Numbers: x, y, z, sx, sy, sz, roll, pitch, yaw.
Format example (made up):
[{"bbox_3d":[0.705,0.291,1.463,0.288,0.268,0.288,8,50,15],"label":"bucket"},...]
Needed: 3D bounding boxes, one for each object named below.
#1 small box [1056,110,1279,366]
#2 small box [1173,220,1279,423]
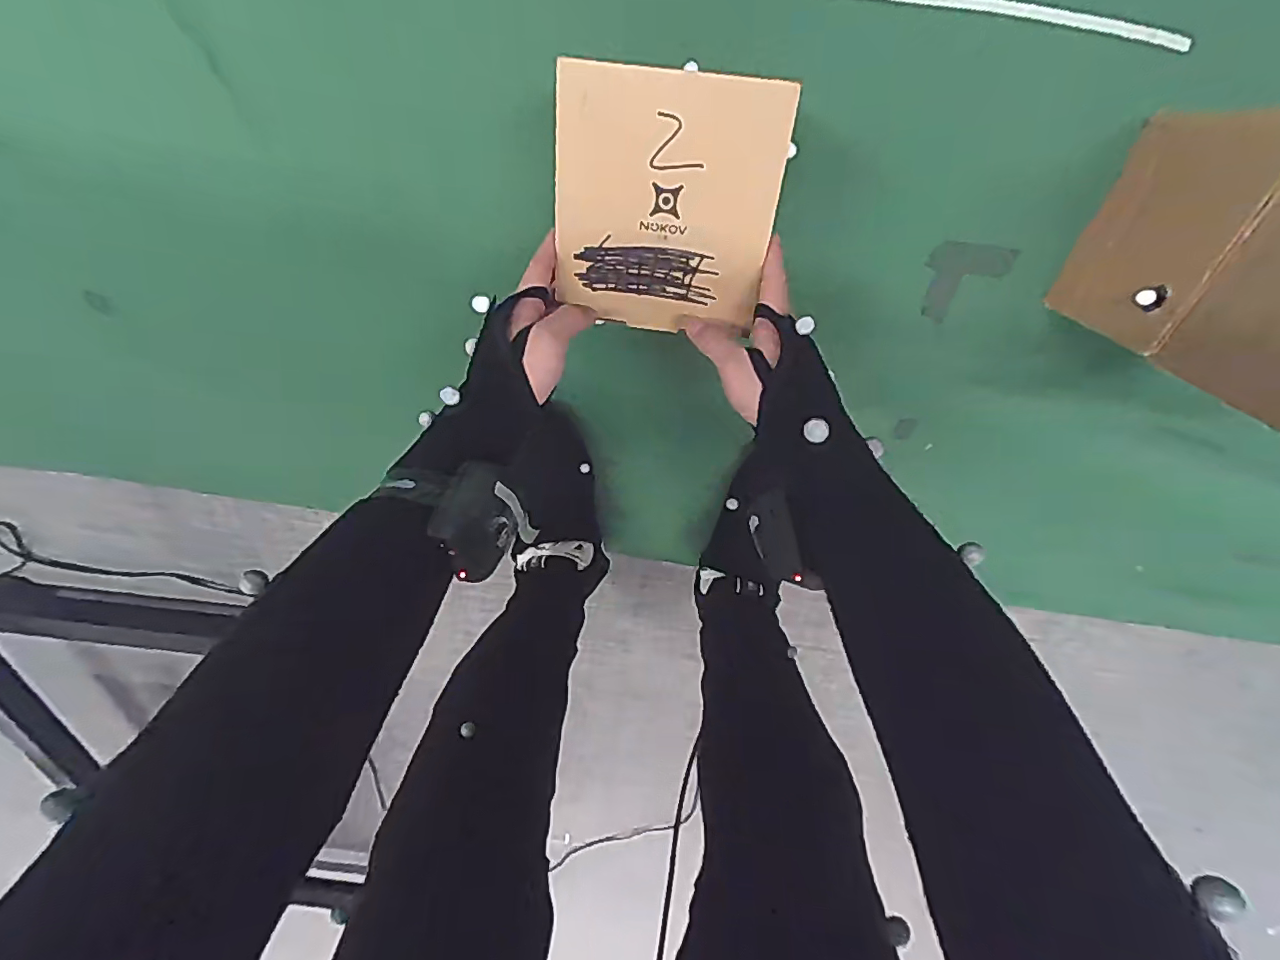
[{"bbox_3d":[0.510,-0.195,0.454,0.168,0.176,0.179,10,124,-2],"label":"small box"},{"bbox_3d":[0.500,-0.100,0.321,0.168,0.176,0.179,12,124,-3],"label":"small box"}]
